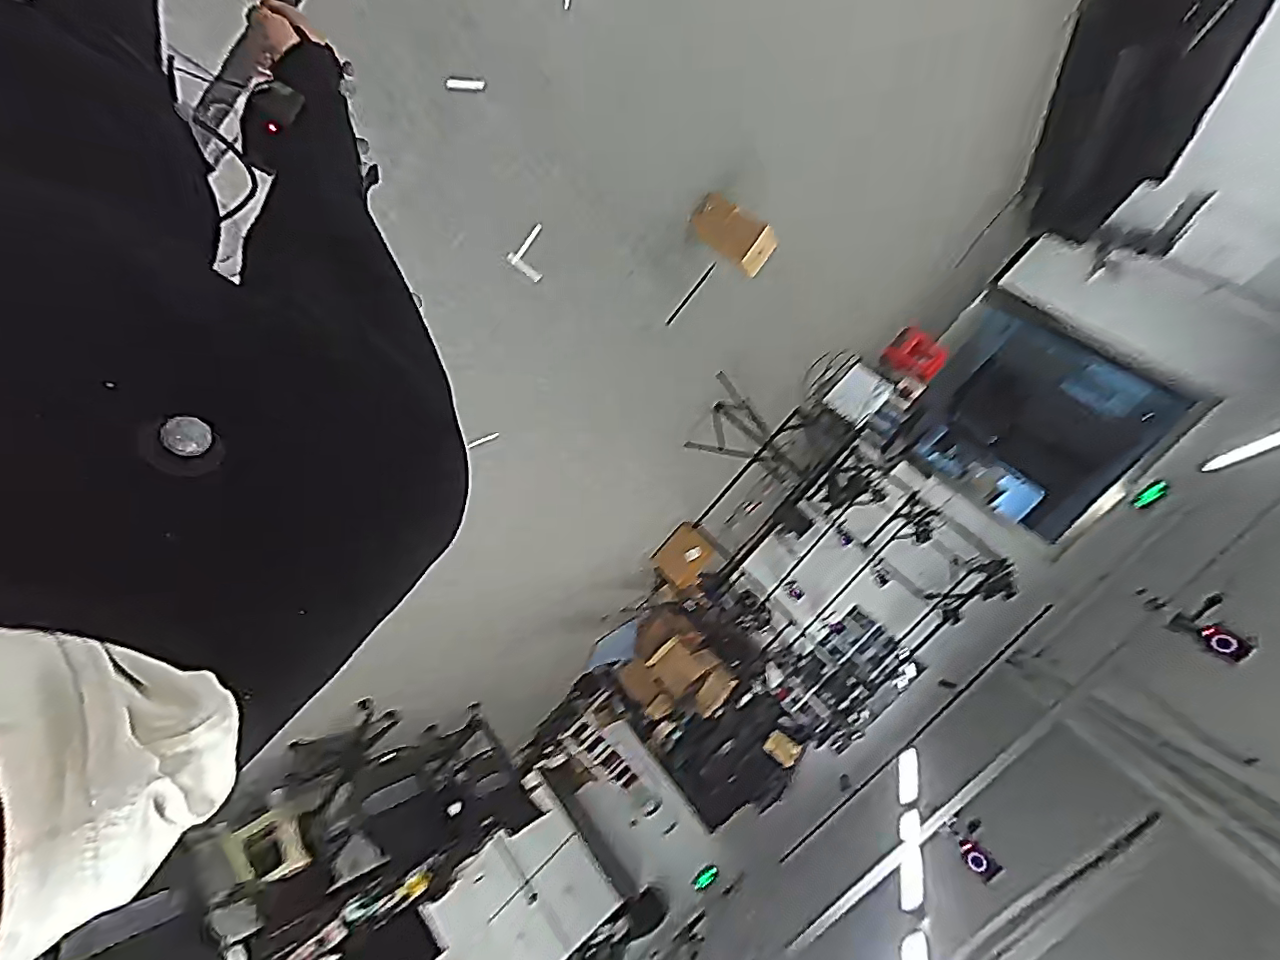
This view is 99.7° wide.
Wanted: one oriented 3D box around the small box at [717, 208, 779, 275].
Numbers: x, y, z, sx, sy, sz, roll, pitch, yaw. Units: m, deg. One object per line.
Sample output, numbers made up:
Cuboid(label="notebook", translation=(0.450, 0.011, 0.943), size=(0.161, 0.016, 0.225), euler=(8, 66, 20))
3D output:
Cuboid(label="small box", translation=(0.458, -1.019, 2.301), size=(0.179, 0.176, 0.168), euler=(-53, 154, 13))

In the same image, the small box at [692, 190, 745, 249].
Cuboid(label="small box", translation=(0.358, -1.132, 2.367), size=(0.168, 0.176, 0.179), euler=(-52, 153, 12))
